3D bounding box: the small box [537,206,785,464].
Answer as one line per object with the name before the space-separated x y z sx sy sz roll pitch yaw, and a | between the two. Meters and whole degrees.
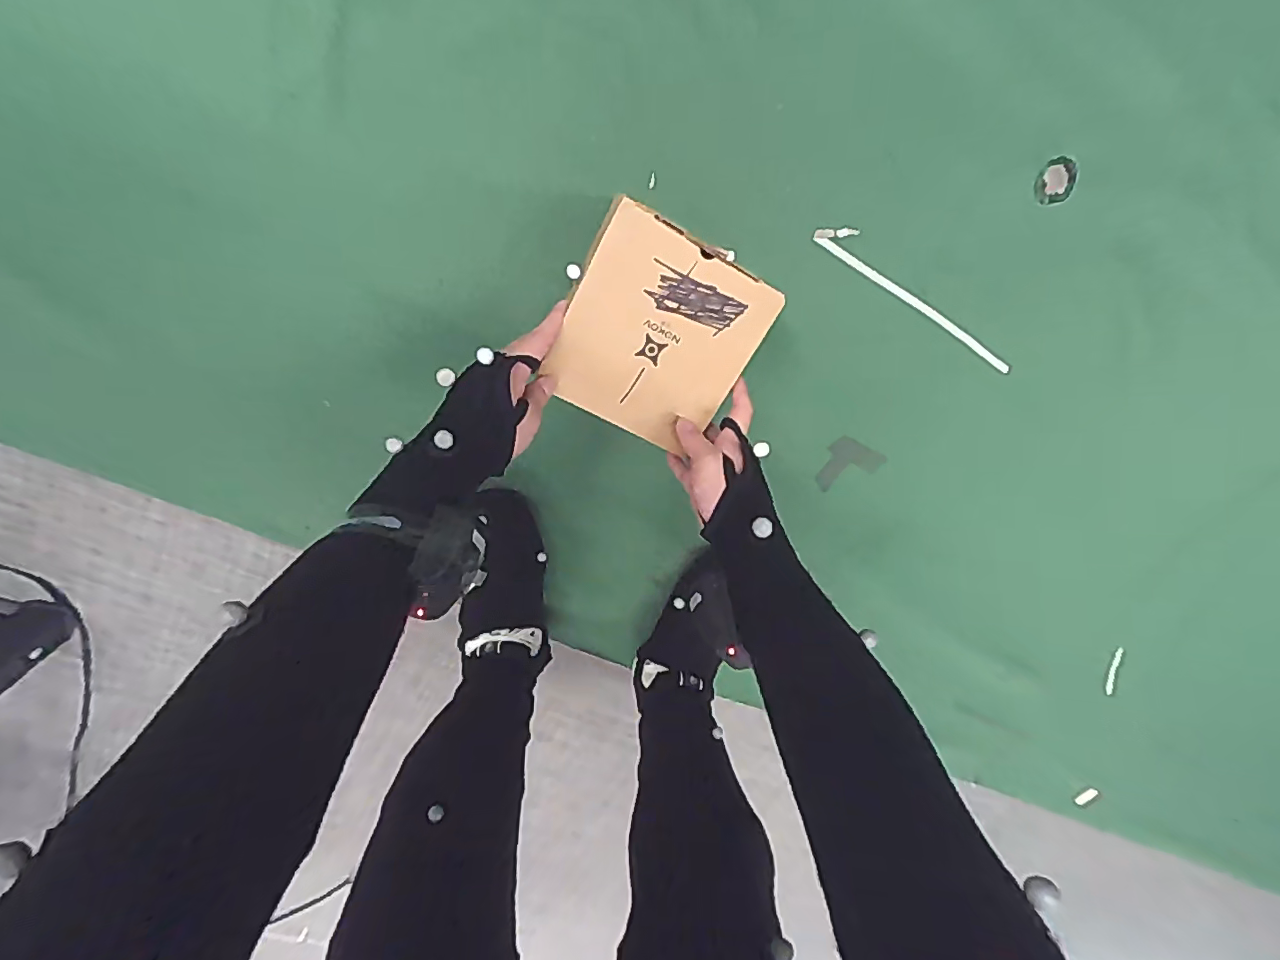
small box | 0.011 -0.152 0.550 0.168 0.176 0.179 25 112 -15
